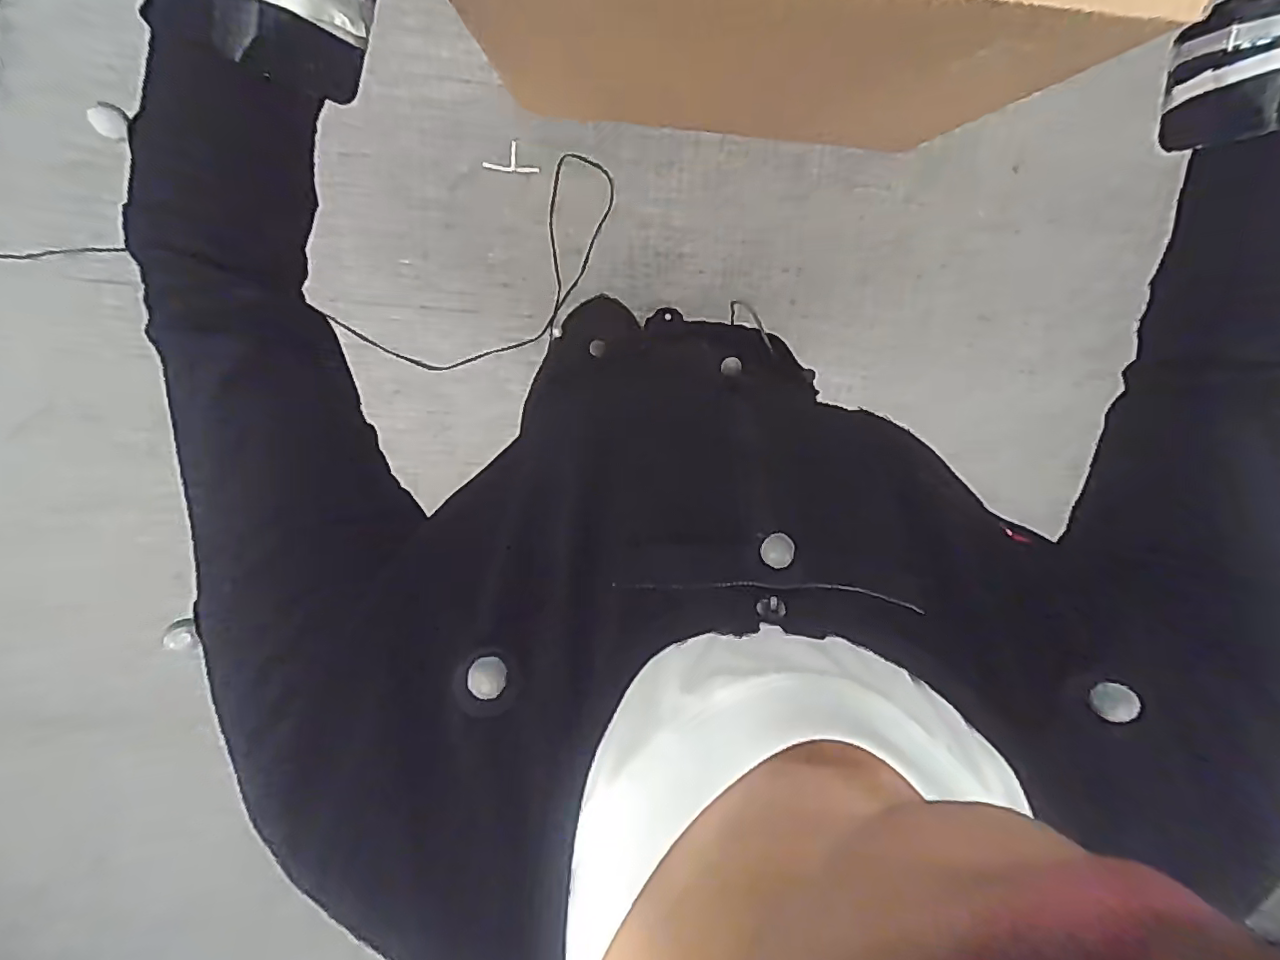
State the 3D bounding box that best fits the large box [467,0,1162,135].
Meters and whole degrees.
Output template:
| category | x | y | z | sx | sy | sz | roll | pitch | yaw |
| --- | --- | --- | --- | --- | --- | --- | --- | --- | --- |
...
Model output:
| category | x | y | z | sx | sy | sz | roll | pitch | yaw |
| --- | --- | --- | --- | --- | --- | --- | --- | --- | --- |
| large box | 0.092 | -0.457 | 0.366 | 0.408 | 0.320 | 0.320 | 3 | 112 | -2 |
